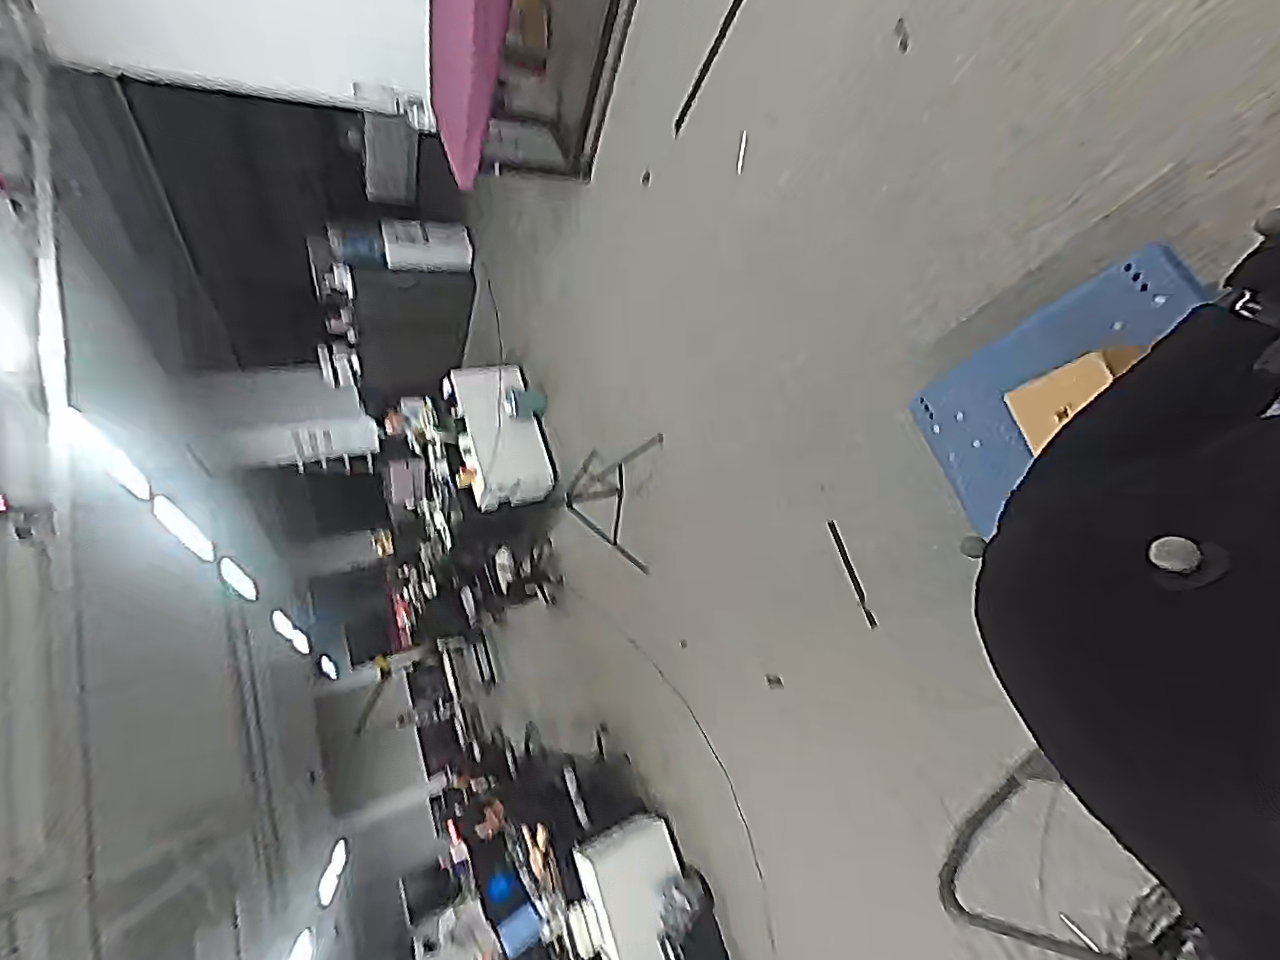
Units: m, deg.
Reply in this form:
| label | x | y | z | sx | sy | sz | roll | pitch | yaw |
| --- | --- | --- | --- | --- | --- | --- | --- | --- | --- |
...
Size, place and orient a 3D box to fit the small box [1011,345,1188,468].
| label | x | y | z | sx | sy | sz | roll | pitch | yaw |
| --- | --- | --- | --- | --- | --- | --- | --- | --- | --- |
| small box | 0.867 | -0.138 | 1.027 | 0.179 | 0.176 | 0.168 | -41 | 66 | 58 |
